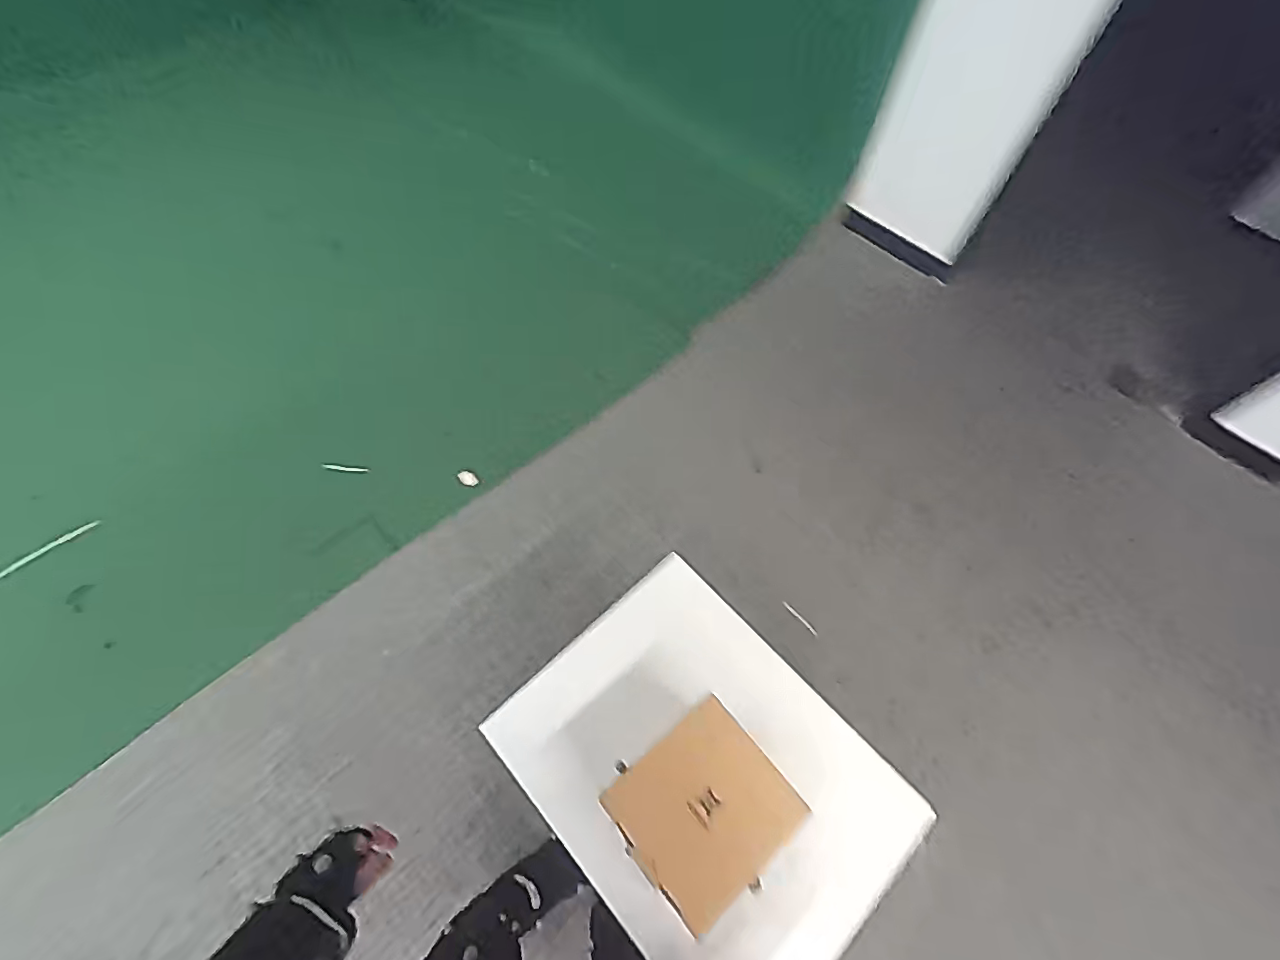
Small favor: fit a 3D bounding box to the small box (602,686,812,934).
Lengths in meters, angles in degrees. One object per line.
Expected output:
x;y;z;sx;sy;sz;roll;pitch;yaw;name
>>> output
0.068;0.383;0.655;0.179;0.176;0.168;-35;67;-20;small box
